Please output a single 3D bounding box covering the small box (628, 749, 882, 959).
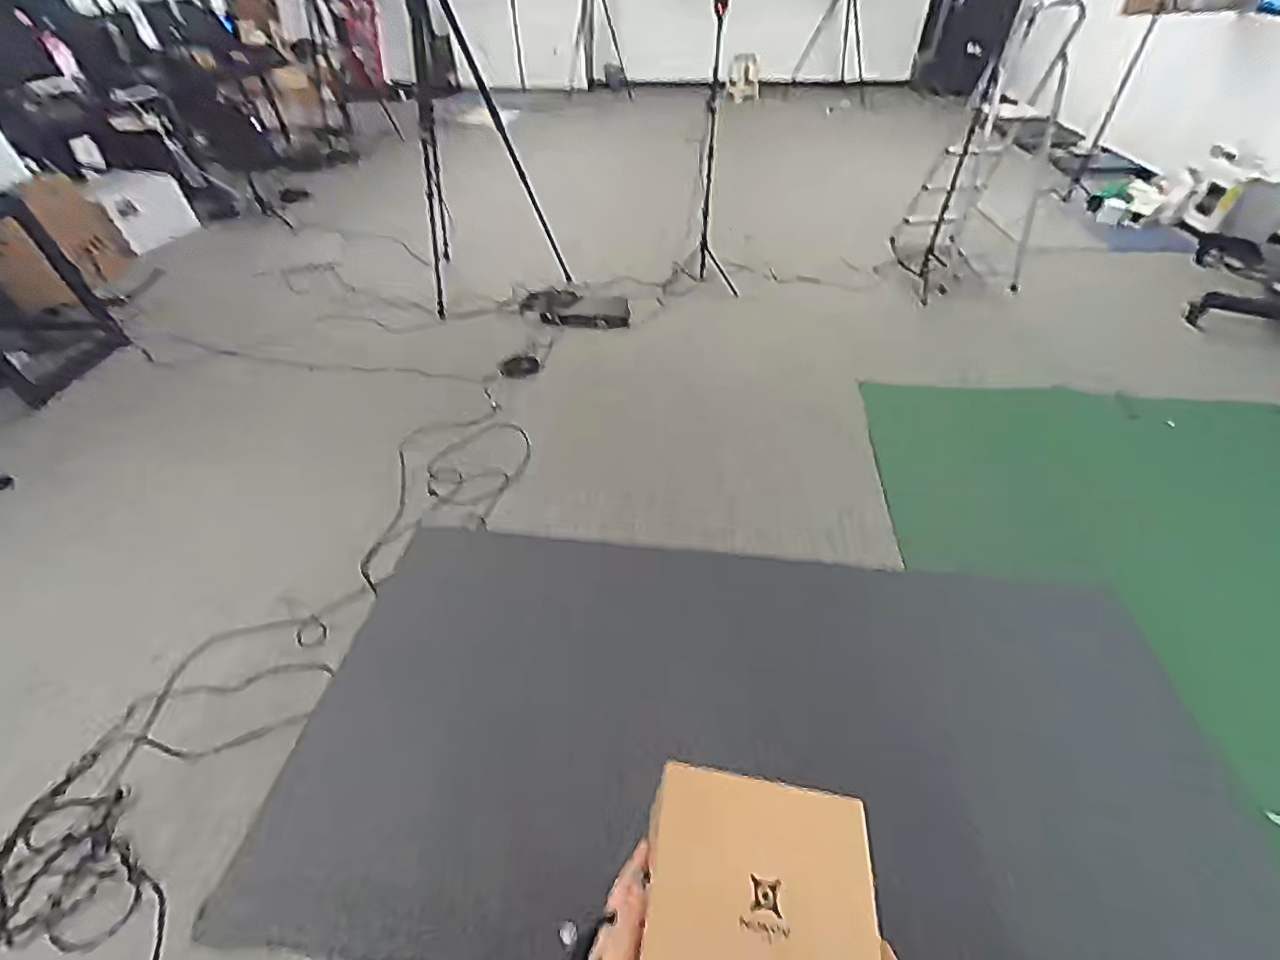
[{"bbox_3d":[0.082,0.358,0.443,0.168,0.176,0.179,10,43,5],"label":"small box"}]
